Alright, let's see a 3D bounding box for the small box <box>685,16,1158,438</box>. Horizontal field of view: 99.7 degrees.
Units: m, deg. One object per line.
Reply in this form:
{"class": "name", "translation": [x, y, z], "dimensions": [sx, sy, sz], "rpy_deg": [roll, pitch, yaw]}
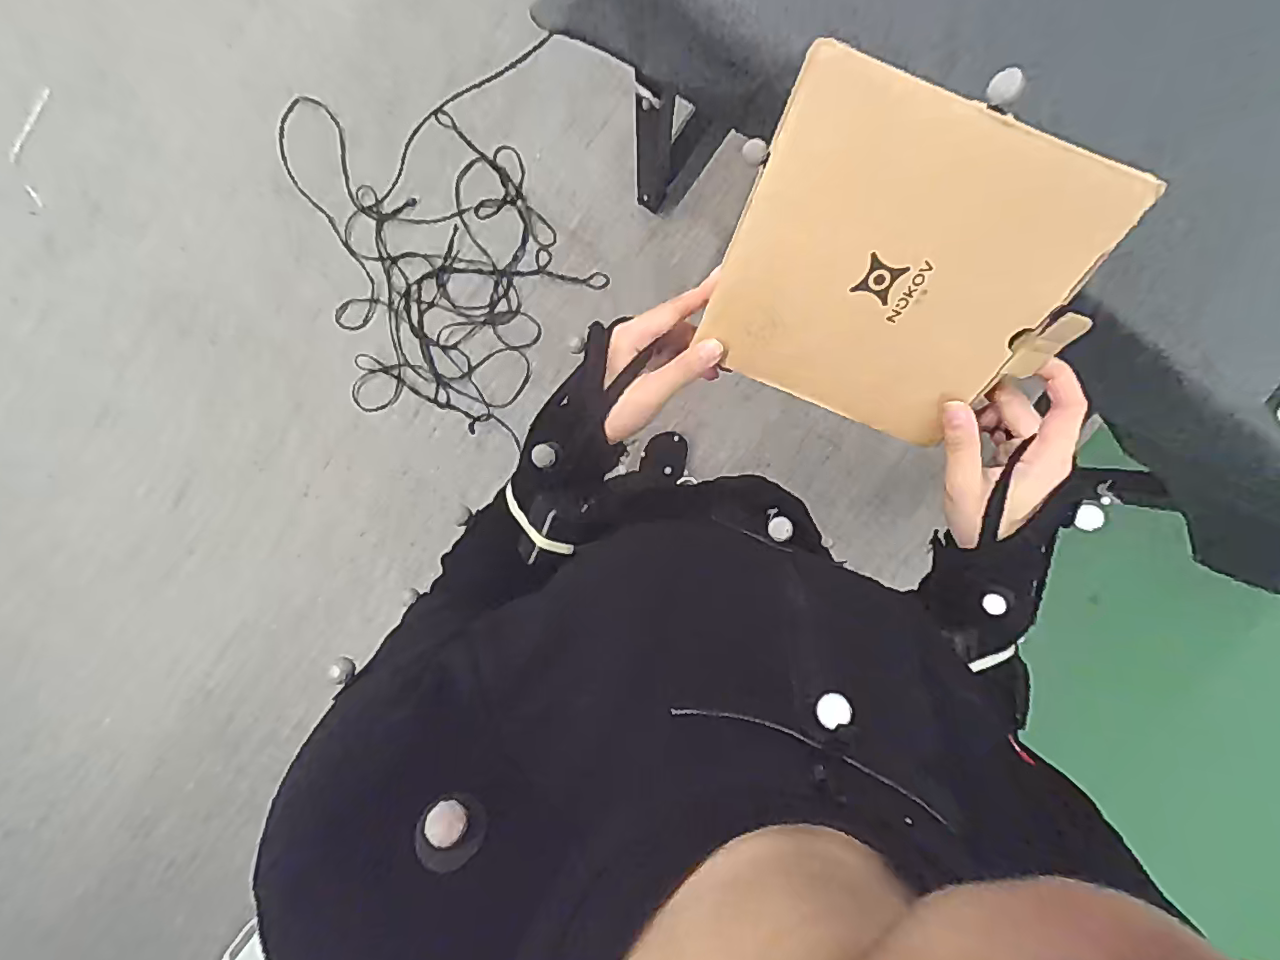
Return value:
{"class": "small box", "translation": [0.149, -0.162, 0.355], "dimensions": [0.179, 0.176, 0.168], "rpy_deg": [22, 129, -2]}
